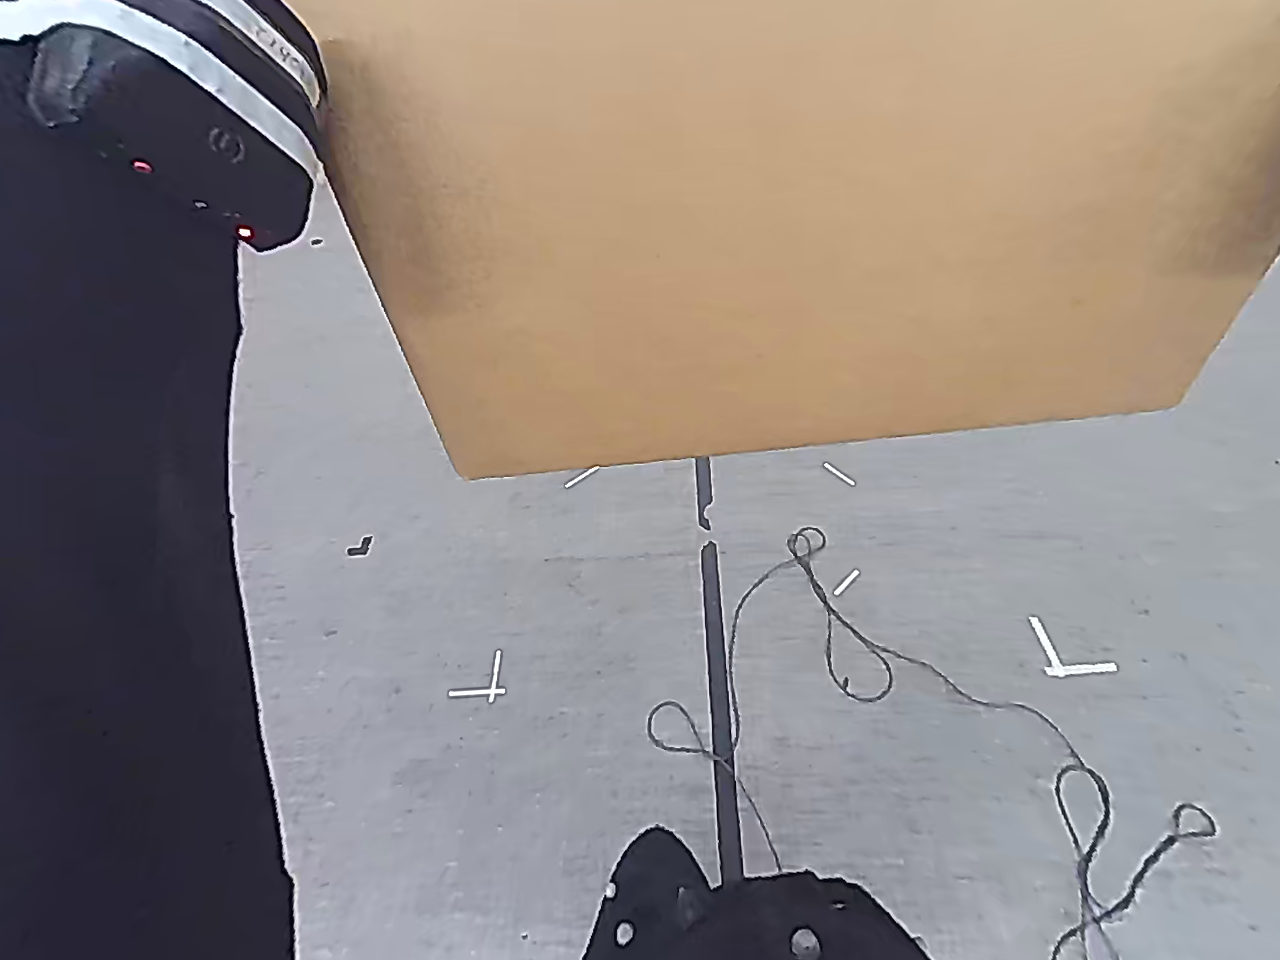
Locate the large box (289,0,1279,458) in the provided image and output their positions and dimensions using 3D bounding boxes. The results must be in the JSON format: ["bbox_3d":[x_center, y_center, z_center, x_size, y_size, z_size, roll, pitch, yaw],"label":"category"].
[{"bbox_3d":[0.071,-0.238,0.326,0.408,0.320,0.320,-5,41,1],"label":"large box"}]
